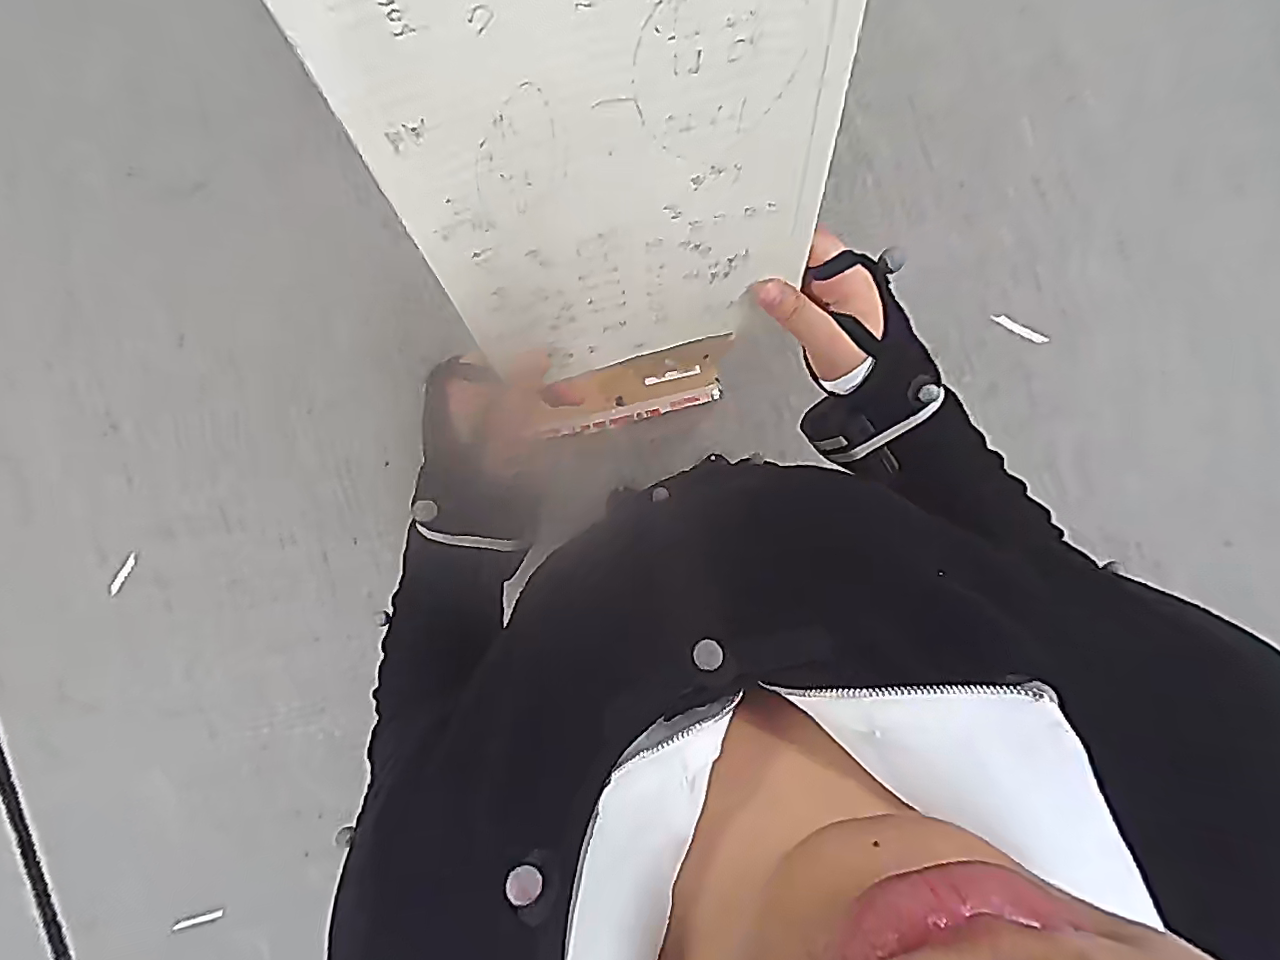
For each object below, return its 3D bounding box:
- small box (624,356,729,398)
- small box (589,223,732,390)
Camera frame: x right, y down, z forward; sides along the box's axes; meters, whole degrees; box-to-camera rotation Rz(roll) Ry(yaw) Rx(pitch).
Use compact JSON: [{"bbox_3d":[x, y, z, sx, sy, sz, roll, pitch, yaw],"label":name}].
[{"bbox_3d":[0.040,-0.250,0.951,0.179,0.176,0.168,-15,91,0],"label":"small box"},{"bbox_3d":[0.024,-0.240,0.786,0.168,0.176,0.179,-11,92,-1],"label":"small box"}]
